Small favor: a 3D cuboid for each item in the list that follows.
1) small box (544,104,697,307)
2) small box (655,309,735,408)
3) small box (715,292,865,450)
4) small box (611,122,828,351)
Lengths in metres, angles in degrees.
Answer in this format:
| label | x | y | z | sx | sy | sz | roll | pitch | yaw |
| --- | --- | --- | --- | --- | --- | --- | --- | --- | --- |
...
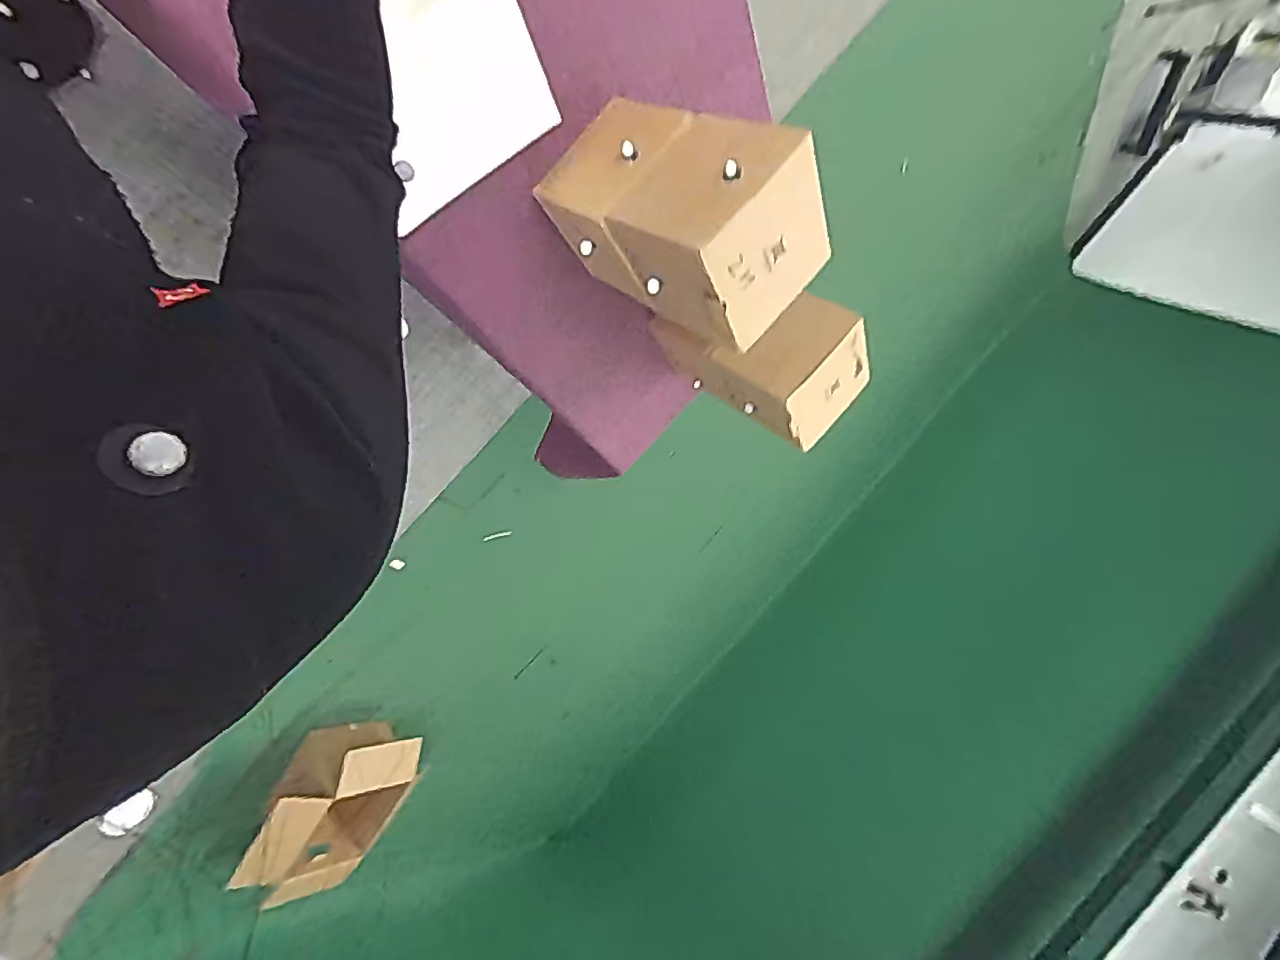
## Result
| label | x | y | z | sx | sy | sz | roll | pitch | yaw |
| --- | --- | --- | --- | --- | --- | --- | --- | --- | --- |
| small box | -0.009 | -0.381 | 0.752 | 0.179 | 0.176 | 0.168 | -49 | 144 | -1 |
| small box | 0.150 | -0.274 | 1.010 | 0.179 | 0.176 | 0.168 | -47 | 144 | -4 |
| small box | 0.247 | -0.189 | 0.908 | 0.179 | 0.176 | 0.168 | -46 | 145 | -3 |
| small box | 0.098 | -0.298 | 0.657 | 0.179 | 0.176 | 0.168 | -47 | 143 | -4 |
